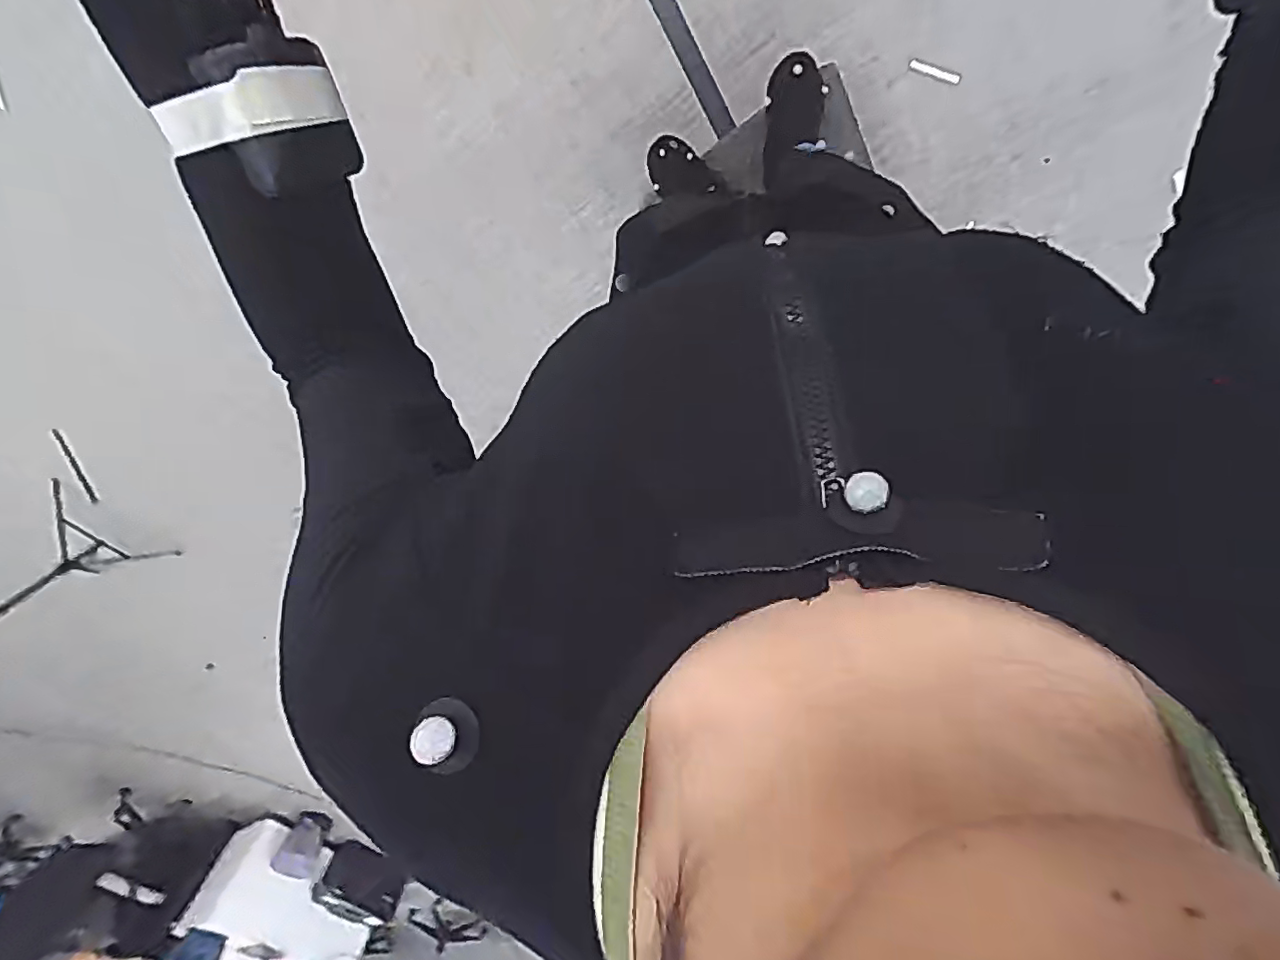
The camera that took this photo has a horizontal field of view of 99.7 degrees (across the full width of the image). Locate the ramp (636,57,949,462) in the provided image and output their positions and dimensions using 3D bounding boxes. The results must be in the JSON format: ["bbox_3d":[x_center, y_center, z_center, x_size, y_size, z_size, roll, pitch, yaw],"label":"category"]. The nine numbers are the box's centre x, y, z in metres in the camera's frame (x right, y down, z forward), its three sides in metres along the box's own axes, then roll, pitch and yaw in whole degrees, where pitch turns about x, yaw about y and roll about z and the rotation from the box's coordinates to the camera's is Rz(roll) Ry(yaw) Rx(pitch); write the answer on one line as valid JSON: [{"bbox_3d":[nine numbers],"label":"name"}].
[{"bbox_3d":[0.468,-0.464,1.461,0.509,0.206,0.991,-30,117,22],"label":"ramp"}]
